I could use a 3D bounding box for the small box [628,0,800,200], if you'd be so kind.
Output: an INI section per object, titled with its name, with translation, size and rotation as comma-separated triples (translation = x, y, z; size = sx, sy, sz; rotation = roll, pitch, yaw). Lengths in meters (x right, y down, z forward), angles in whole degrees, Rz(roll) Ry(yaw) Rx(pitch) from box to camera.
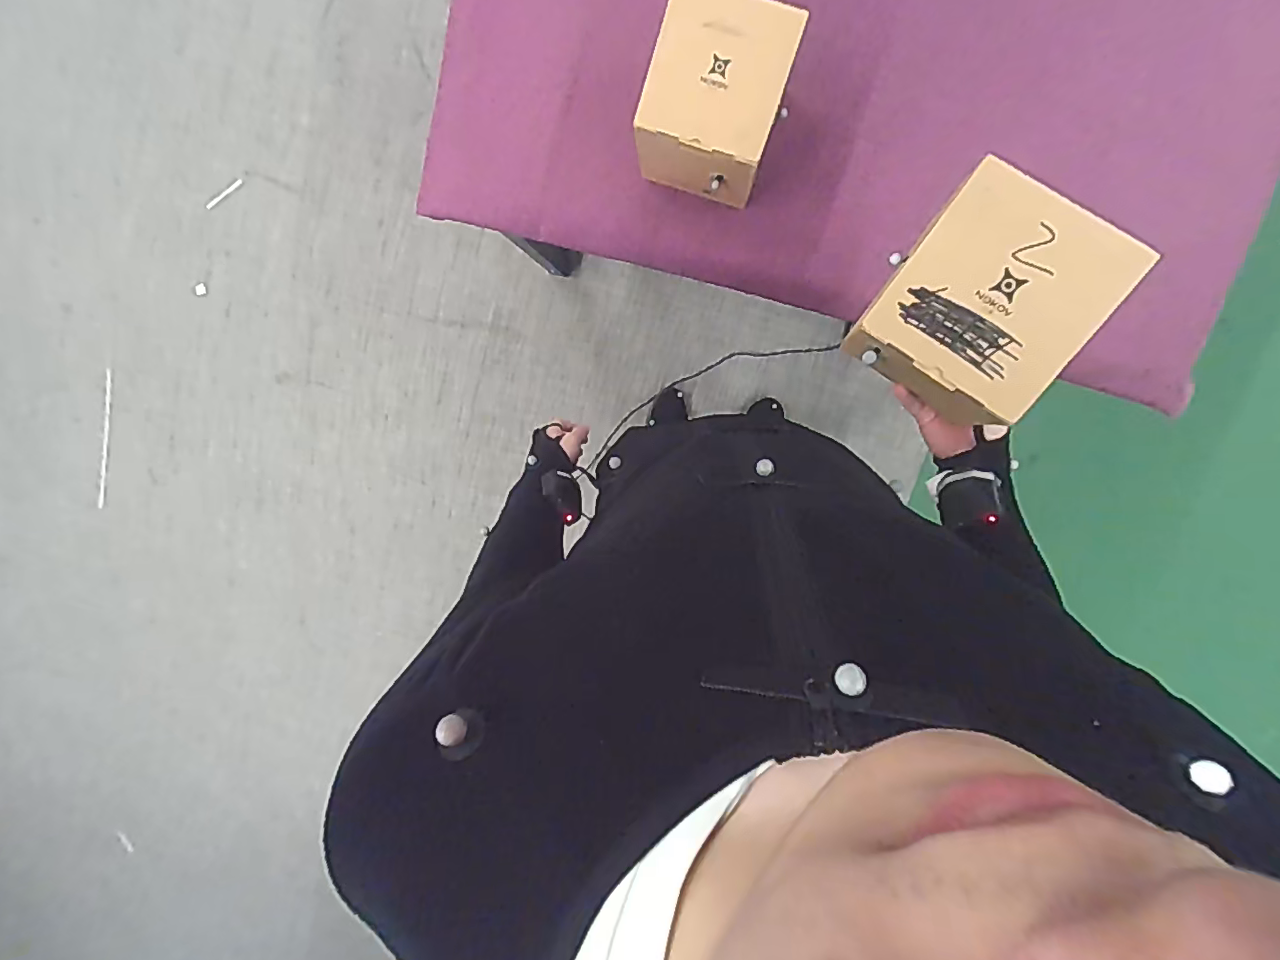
[small box]
translation = 0.094, -0.512, 0.733
size = 0.168, 0.176, 0.179
rotation = 19, 100, 0
